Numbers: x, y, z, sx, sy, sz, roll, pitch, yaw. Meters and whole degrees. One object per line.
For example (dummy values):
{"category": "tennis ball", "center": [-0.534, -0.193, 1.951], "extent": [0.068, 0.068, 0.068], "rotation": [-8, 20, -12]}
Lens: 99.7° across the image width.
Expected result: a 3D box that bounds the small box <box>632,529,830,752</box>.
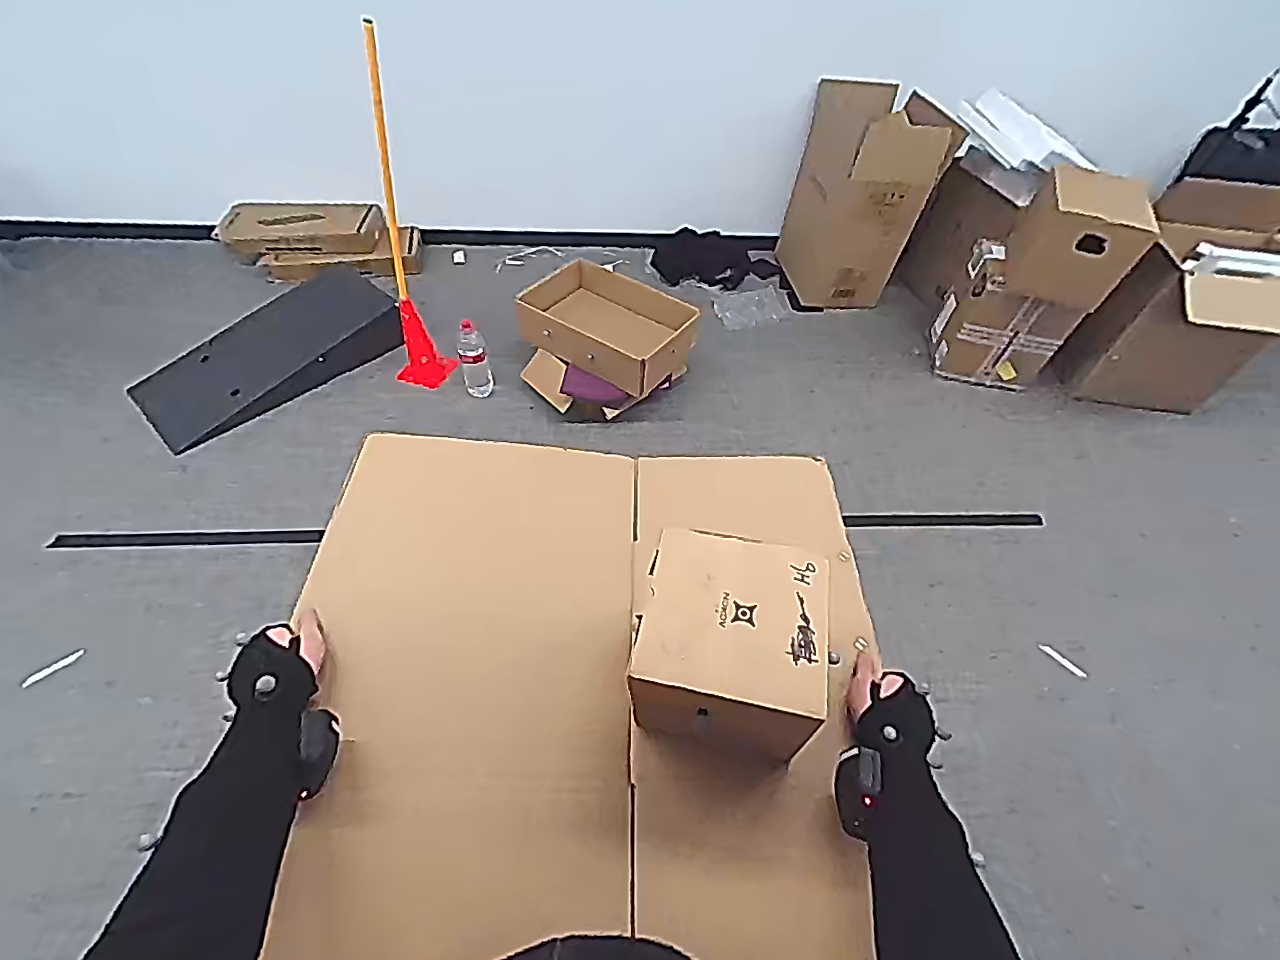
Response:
{"category": "small box", "center": [0.099, 0.177, 0.587], "extent": [0.179, 0.176, 0.168], "rotation": [8, 53, 10]}
